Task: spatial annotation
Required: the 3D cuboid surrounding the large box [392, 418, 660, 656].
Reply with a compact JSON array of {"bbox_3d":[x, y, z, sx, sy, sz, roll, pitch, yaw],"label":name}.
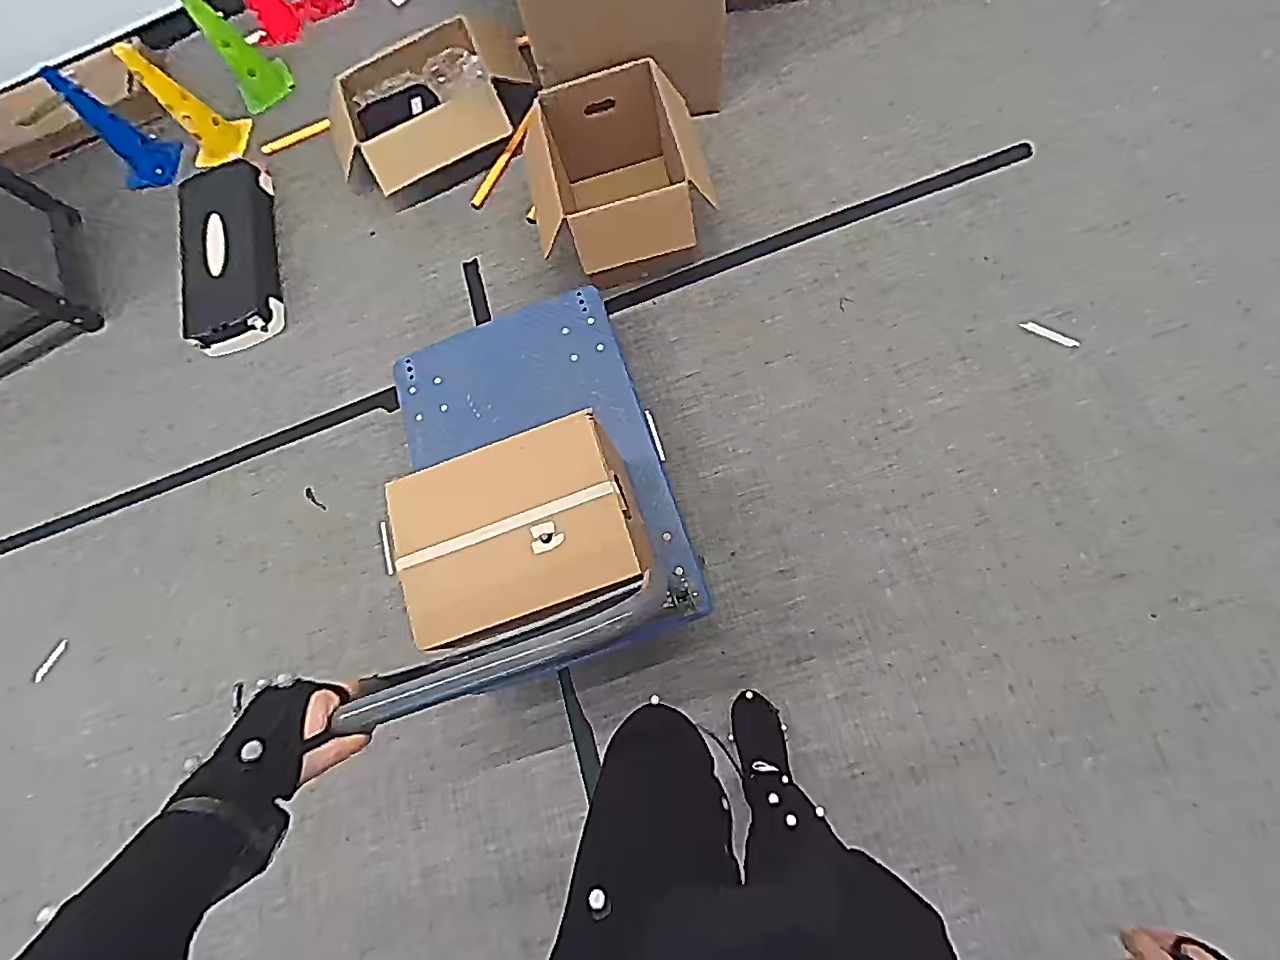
[{"bbox_3d":[-0.206,0.132,1.085,0.408,0.320,0.320,-20,74,2],"label":"large box"}]
